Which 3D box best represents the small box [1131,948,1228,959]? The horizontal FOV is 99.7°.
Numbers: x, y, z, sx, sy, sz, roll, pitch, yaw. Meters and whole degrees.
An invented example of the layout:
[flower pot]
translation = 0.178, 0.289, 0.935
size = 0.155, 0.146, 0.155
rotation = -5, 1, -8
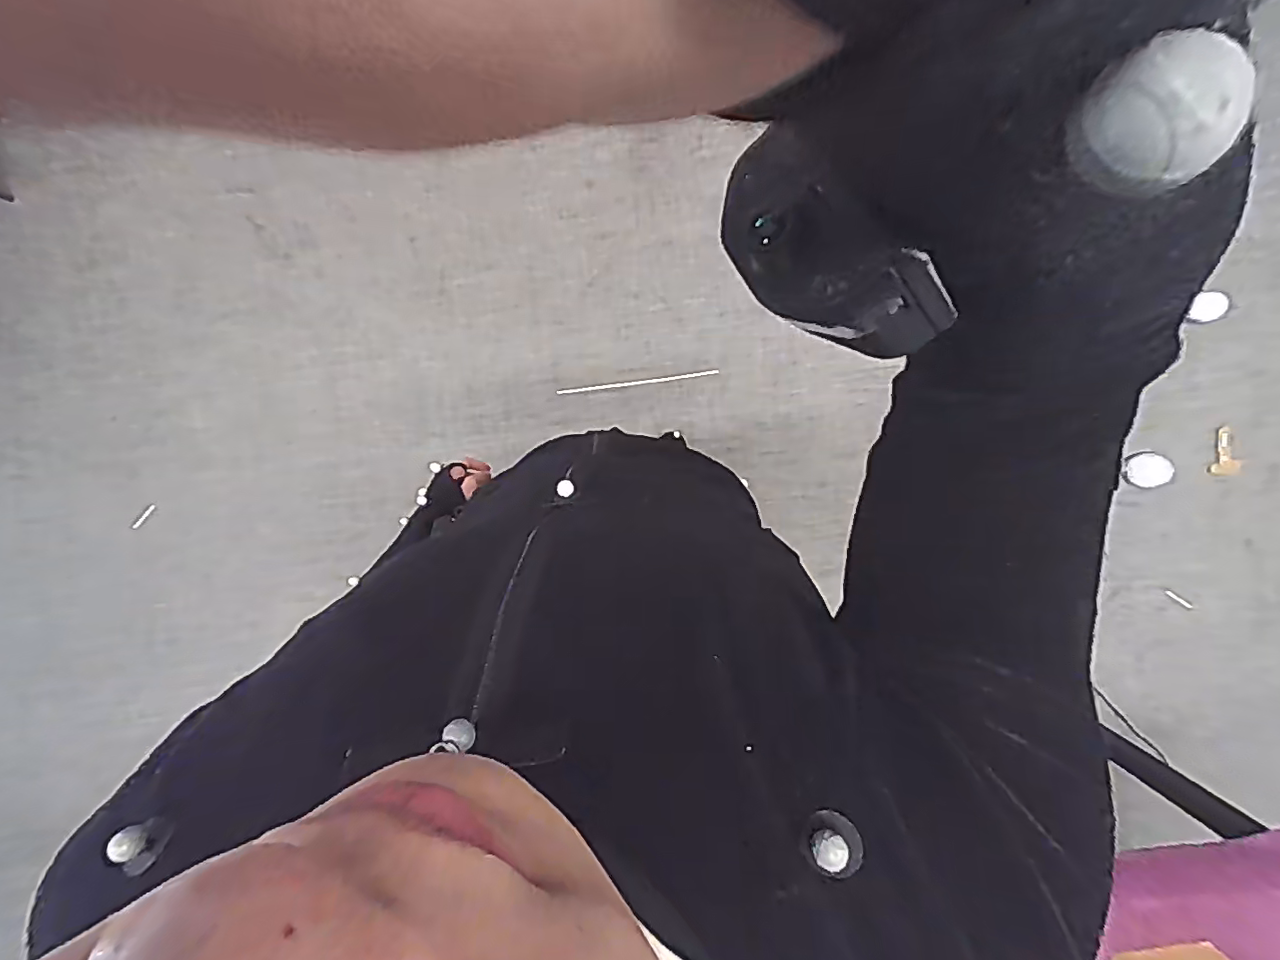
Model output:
[small box]
translation = 0.932, 0.905, 0.868
size = 0.179, 0.176, 0.168
rotation = -9, 93, 0
